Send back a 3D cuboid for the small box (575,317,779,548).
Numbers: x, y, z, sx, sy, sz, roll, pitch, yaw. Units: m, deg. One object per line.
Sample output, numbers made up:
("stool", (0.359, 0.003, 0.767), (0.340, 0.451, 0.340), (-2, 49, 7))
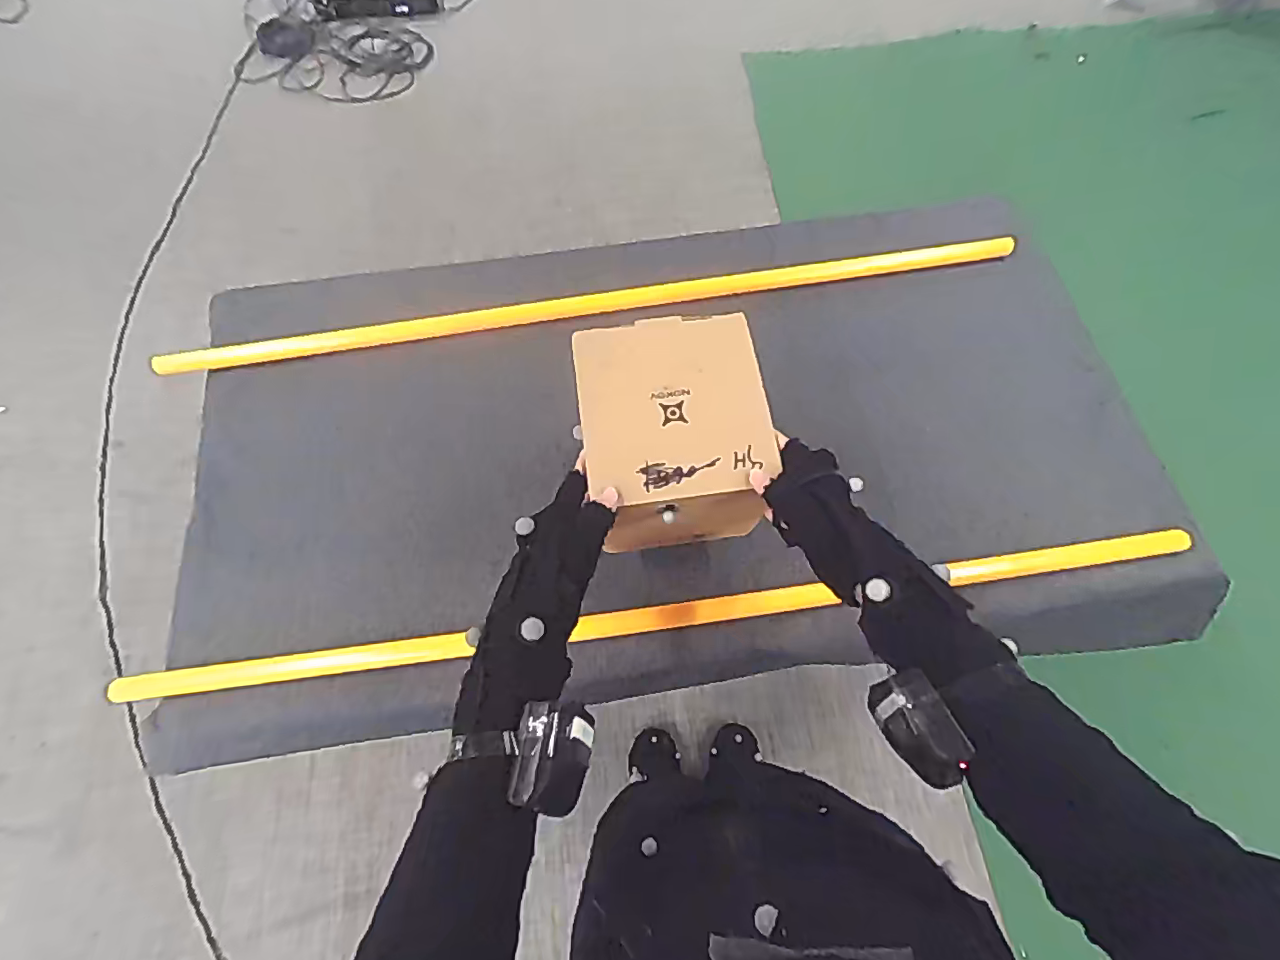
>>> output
("small box", (0.029, -0.040, 0.562), (0.168, 0.176, 0.179), (-8, 70, -2))
